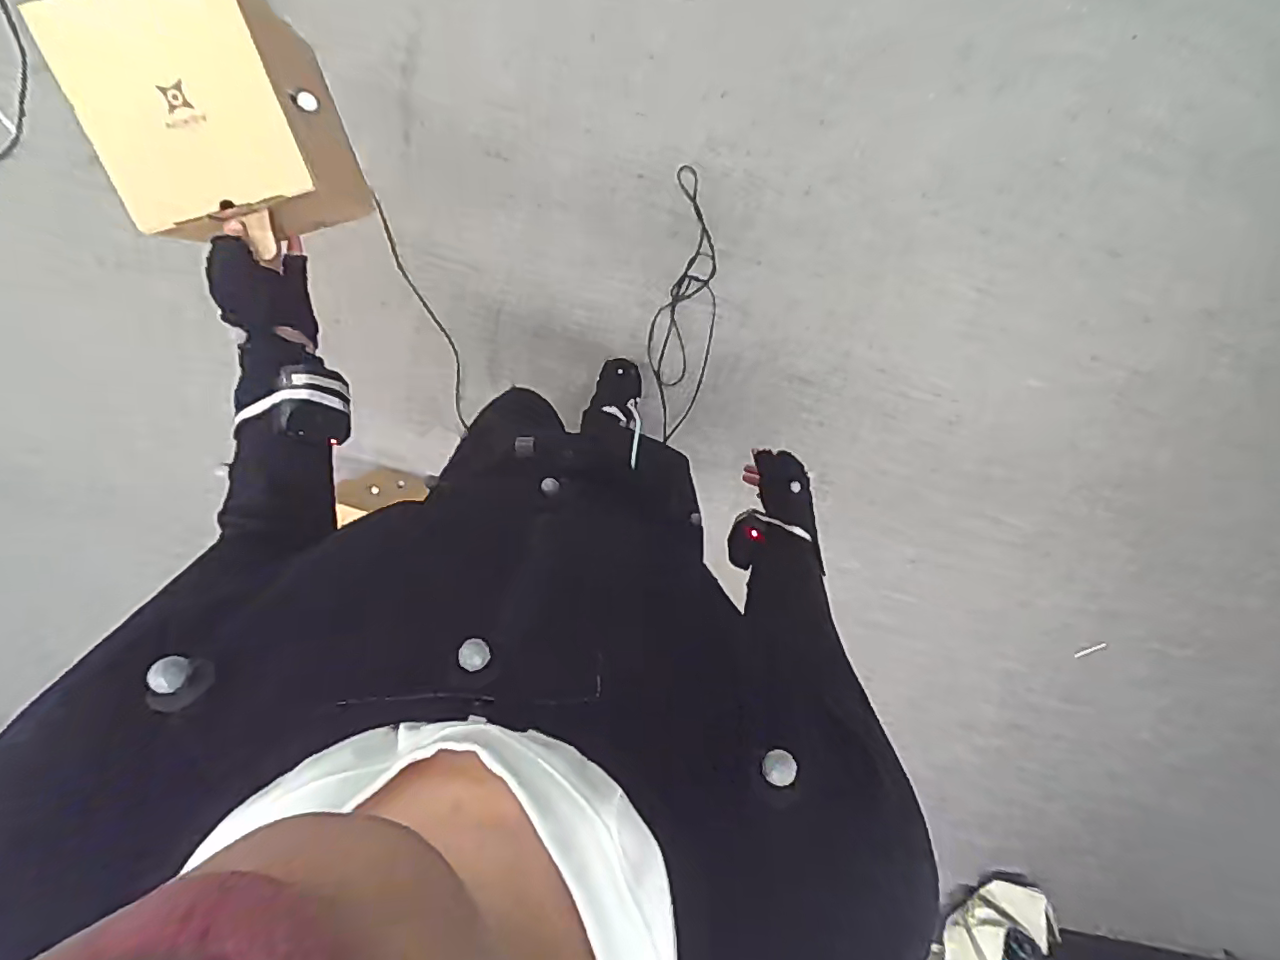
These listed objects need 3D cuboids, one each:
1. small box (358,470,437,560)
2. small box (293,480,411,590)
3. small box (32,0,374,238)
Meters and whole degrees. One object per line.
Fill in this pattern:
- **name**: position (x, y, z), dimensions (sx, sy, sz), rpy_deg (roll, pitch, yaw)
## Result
- **small box**: position (-0.643, 0.083, 1.390), dimensions (0.179, 0.176, 0.168), rpy_deg (17, 102, -6)
- **small box**: position (-0.644, 0.118, 1.229), dimensions (0.168, 0.176, 0.179), rpy_deg (18, 101, -5)
- **small box**: position (-0.399, -0.357, 0.538), dimensions (0.168, 0.176, 0.179), rpy_deg (-16, 112, -2)
